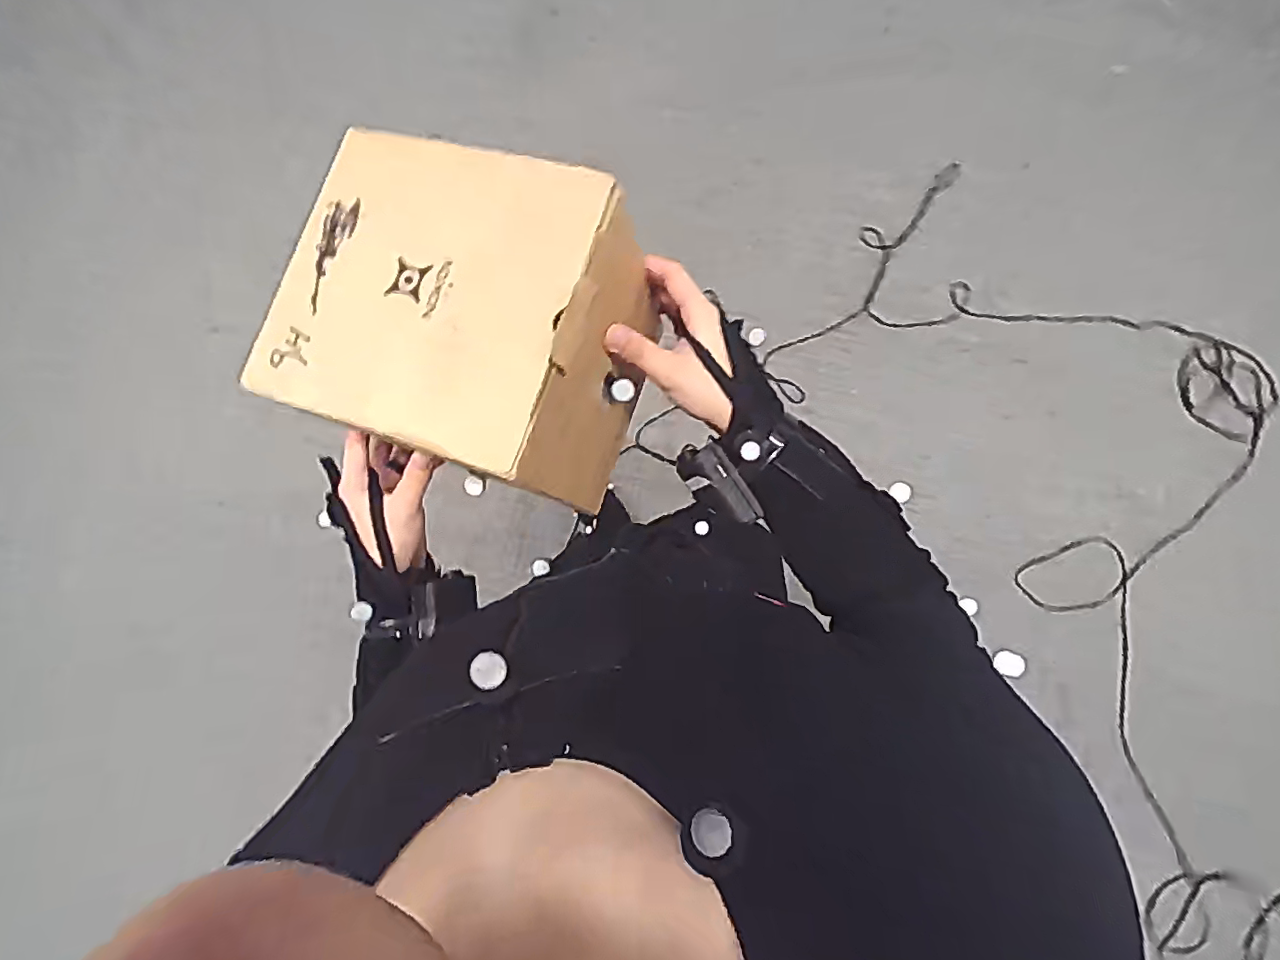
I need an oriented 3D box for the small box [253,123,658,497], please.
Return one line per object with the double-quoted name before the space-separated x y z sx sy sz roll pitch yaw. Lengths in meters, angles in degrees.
"small box" -0.098 -0.094 0.372 0.179 0.176 0.168 20 84 12
